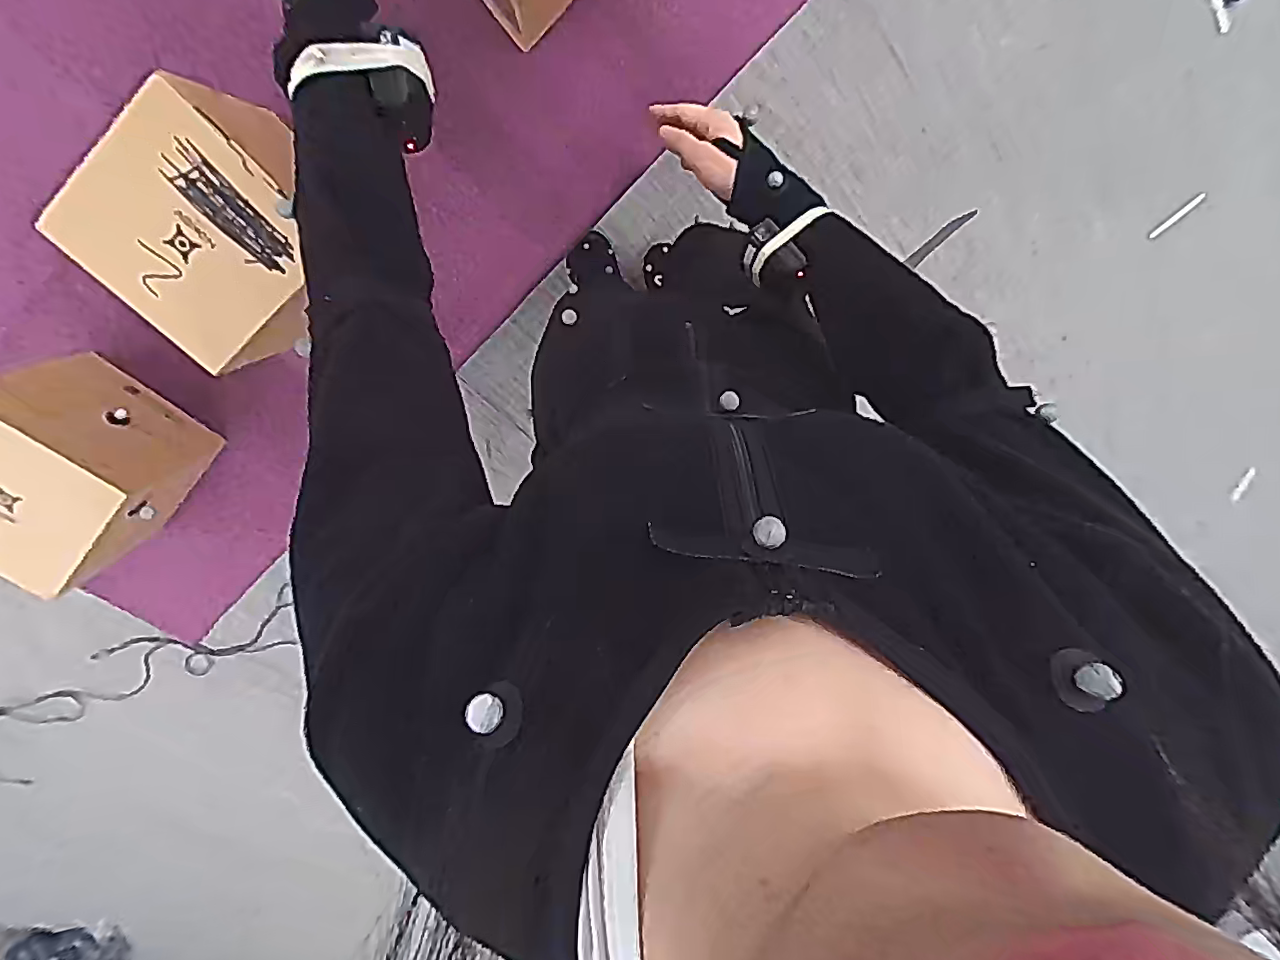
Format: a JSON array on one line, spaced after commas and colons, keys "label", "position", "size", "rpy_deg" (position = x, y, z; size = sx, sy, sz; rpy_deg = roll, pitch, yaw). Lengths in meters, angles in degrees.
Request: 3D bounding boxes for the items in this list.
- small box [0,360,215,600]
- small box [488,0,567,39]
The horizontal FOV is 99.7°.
[{"label": "small box", "position": [-0.632, -0.010, 0.605], "size": [0.168, 0.176, 0.179], "rpy_deg": [41, 104, -19]}, {"label": "small box", "position": [-0.099, -0.514, 0.433], "size": [0.179, 0.176, 0.168], "rpy_deg": [-41, 113, 12]}]
